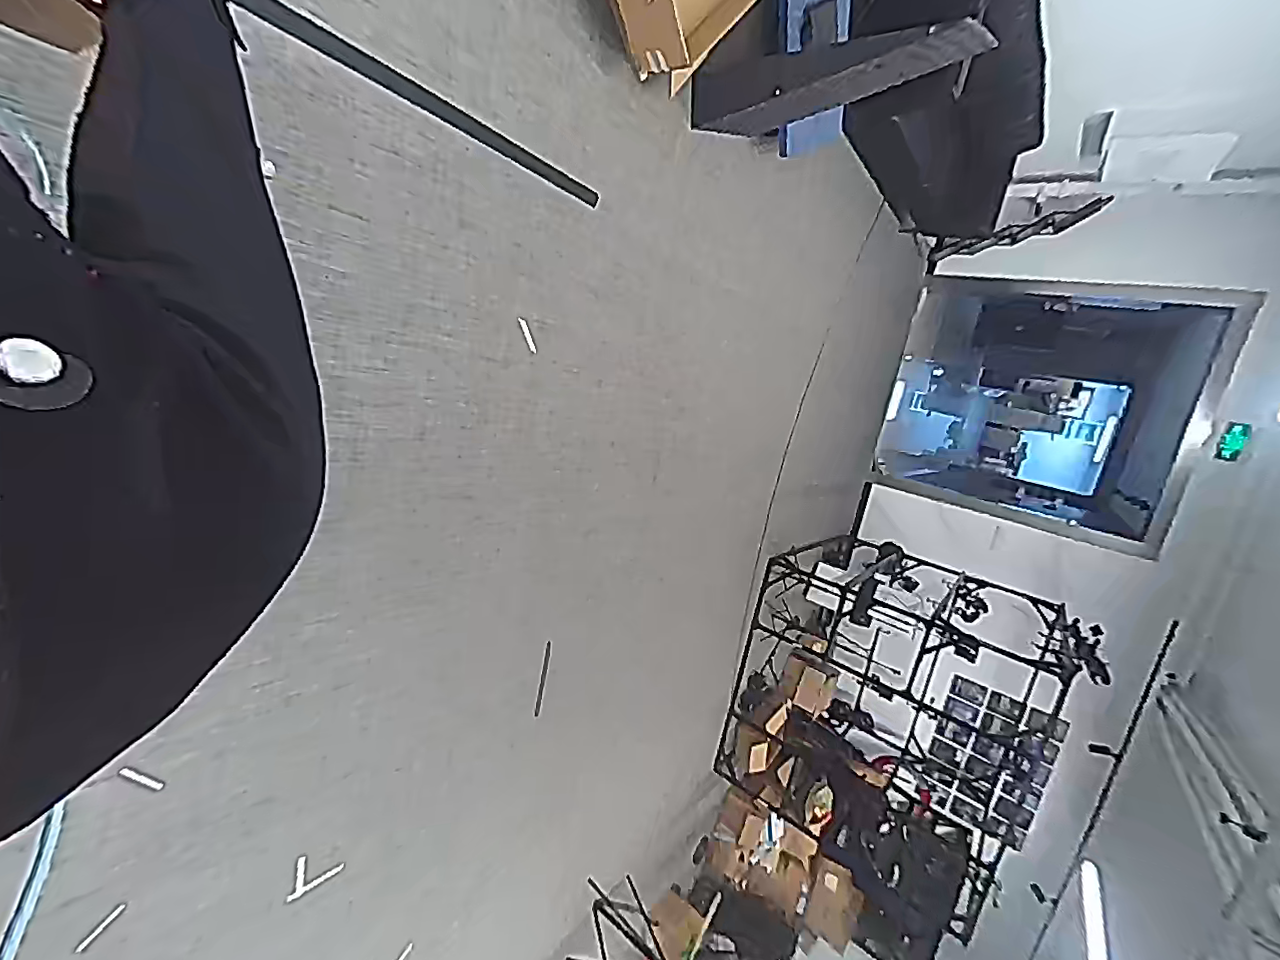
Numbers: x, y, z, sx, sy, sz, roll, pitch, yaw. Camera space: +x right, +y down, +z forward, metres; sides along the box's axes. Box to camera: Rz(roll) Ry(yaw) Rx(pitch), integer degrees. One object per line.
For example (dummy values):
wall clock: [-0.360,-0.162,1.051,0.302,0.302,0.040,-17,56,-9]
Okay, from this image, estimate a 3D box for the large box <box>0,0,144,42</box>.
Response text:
large box: [-0.598,-0.561,0.325,0.408,0.320,0.320,-3,115,-54]
